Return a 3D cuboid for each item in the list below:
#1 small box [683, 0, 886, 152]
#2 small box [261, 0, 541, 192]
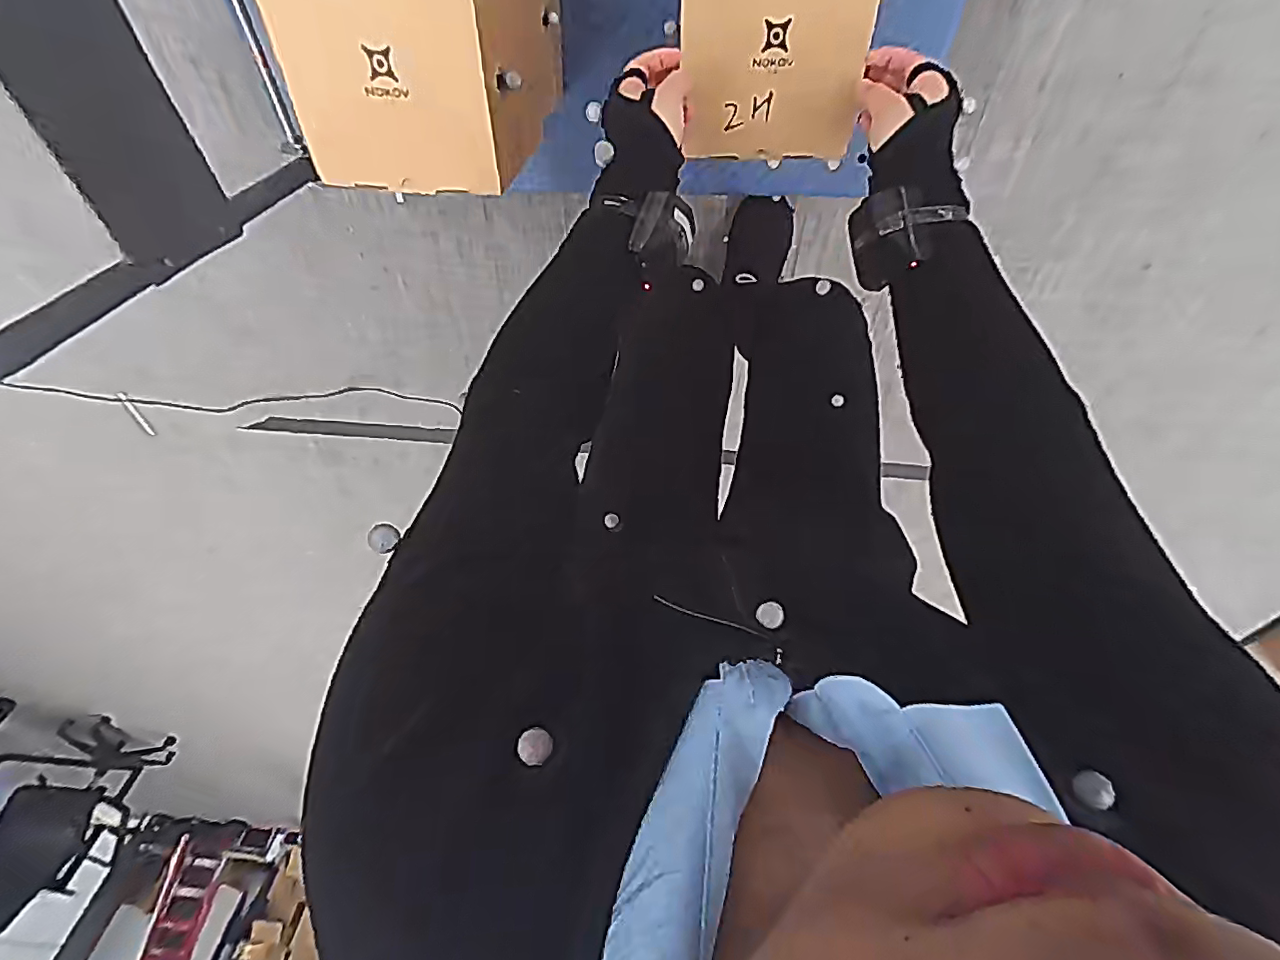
[{"bbox_3d":[0.128,-0.440,0.523,0.168,0.176,0.179,3,137,4],"label":"small box"},{"bbox_3d":[-0.188,-0.374,0.467,0.168,0.176,0.179,4,137,2],"label":"small box"}]
